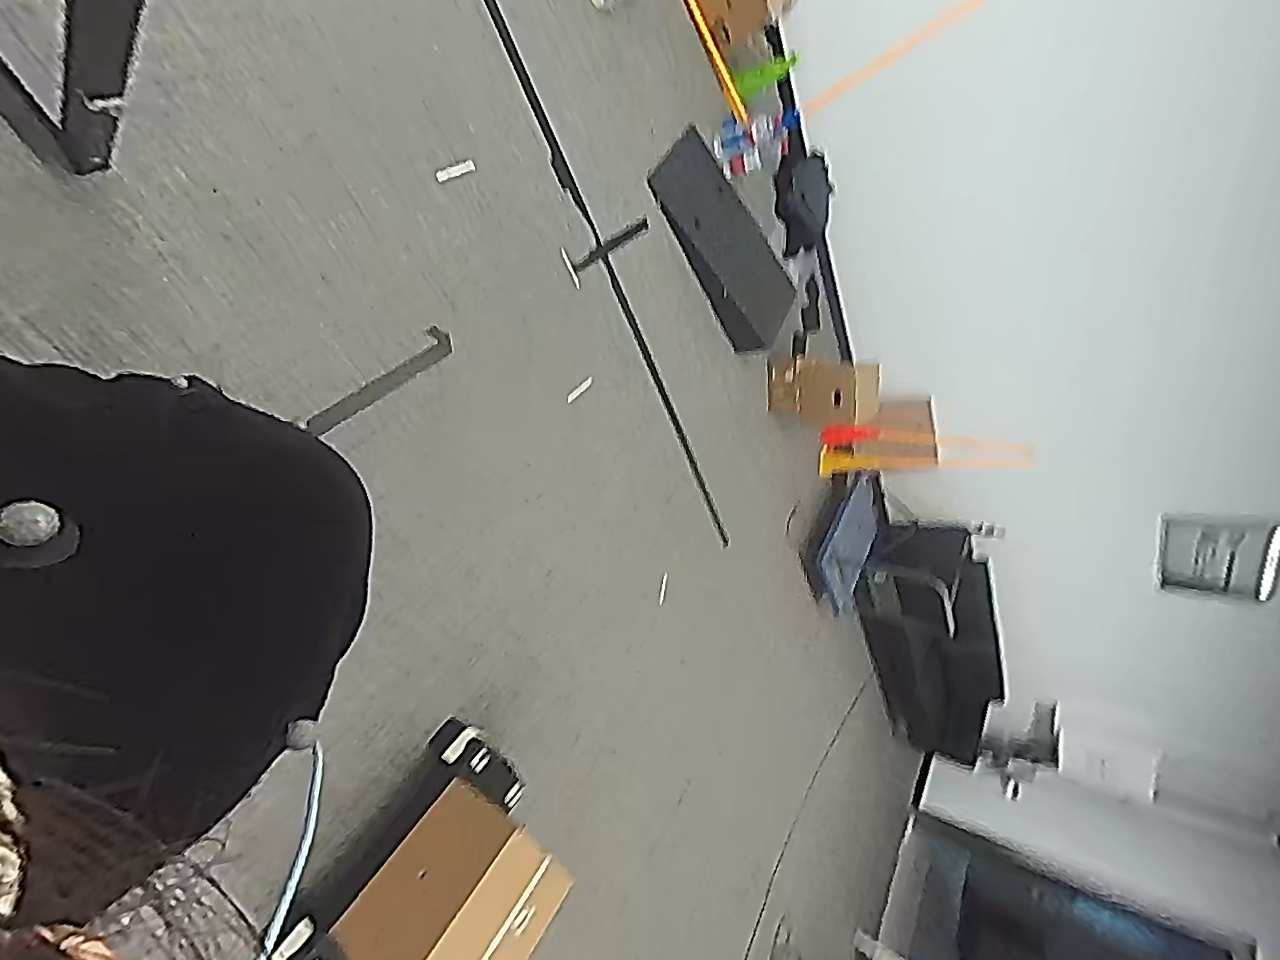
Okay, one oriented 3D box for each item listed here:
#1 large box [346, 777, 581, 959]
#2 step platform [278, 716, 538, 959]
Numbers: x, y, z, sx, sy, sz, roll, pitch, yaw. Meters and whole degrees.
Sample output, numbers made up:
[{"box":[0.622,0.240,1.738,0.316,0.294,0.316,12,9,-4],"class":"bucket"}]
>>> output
[{"box":[-0.435,1.071,1.377,0.408,0.320,0.320,-49,126,-36],"class":"large box"},{"box":[-0.610,1.040,1.538,0.684,0.204,0.286,-44,122,-39],"class":"step platform"}]
